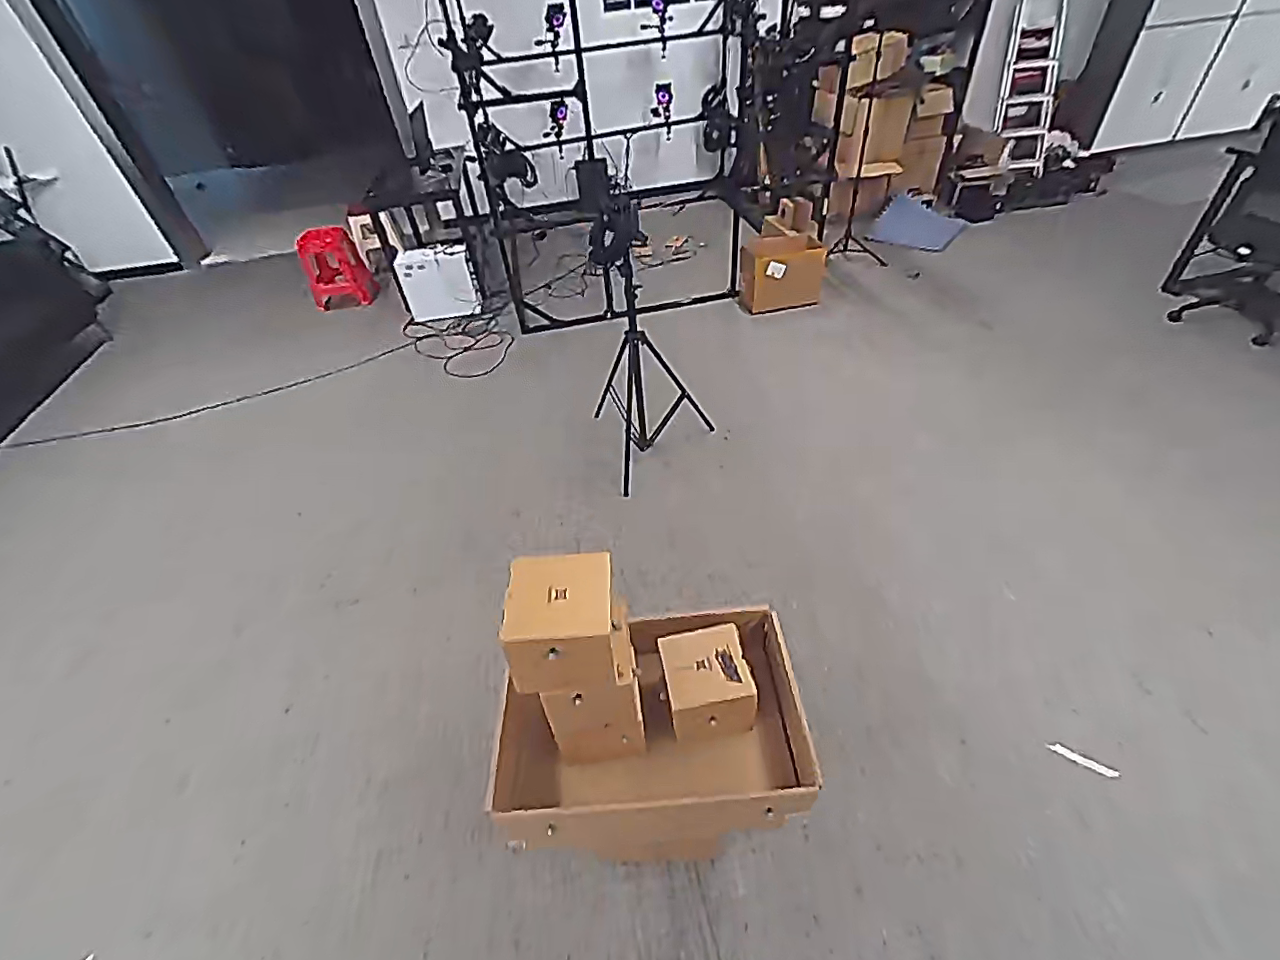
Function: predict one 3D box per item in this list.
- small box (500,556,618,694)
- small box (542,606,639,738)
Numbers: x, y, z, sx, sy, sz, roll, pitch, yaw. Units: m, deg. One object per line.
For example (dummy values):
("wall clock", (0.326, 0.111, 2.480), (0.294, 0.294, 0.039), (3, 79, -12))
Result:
("small box", (-0.128, 0.253, 0.939), (0.179, 0.176, 0.168), (-5, 42, 0))
("small box", (-0.094, 0.371, 1.048), (0.168, 0.176, 0.179), (-7, 42, -2))
